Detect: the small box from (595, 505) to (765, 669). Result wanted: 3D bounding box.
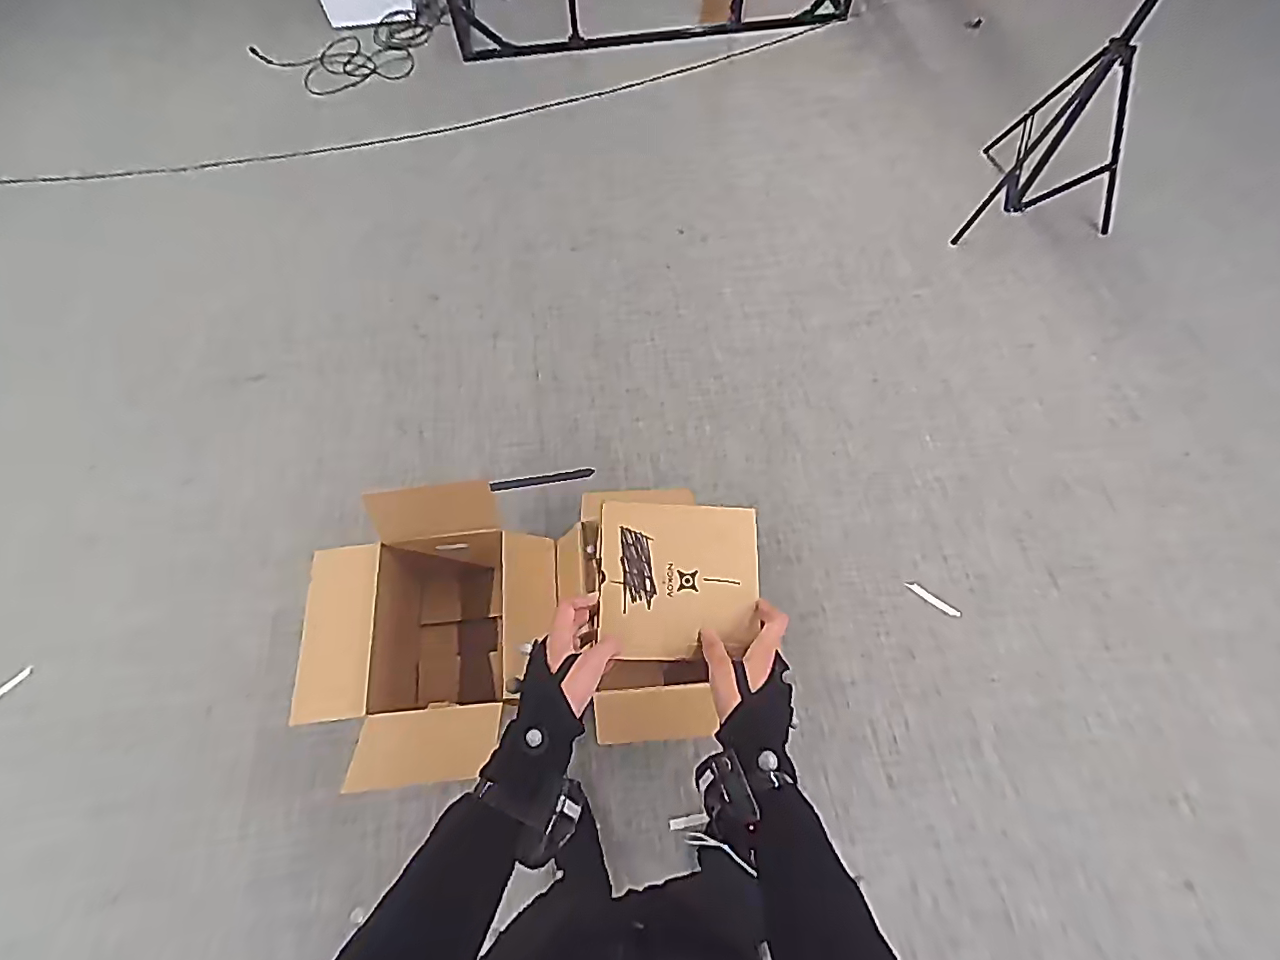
[{"bbox_3d":[0.038,0.133,0.645,0.179,0.176,0.168,4,74,-5],"label":"small box"}]
